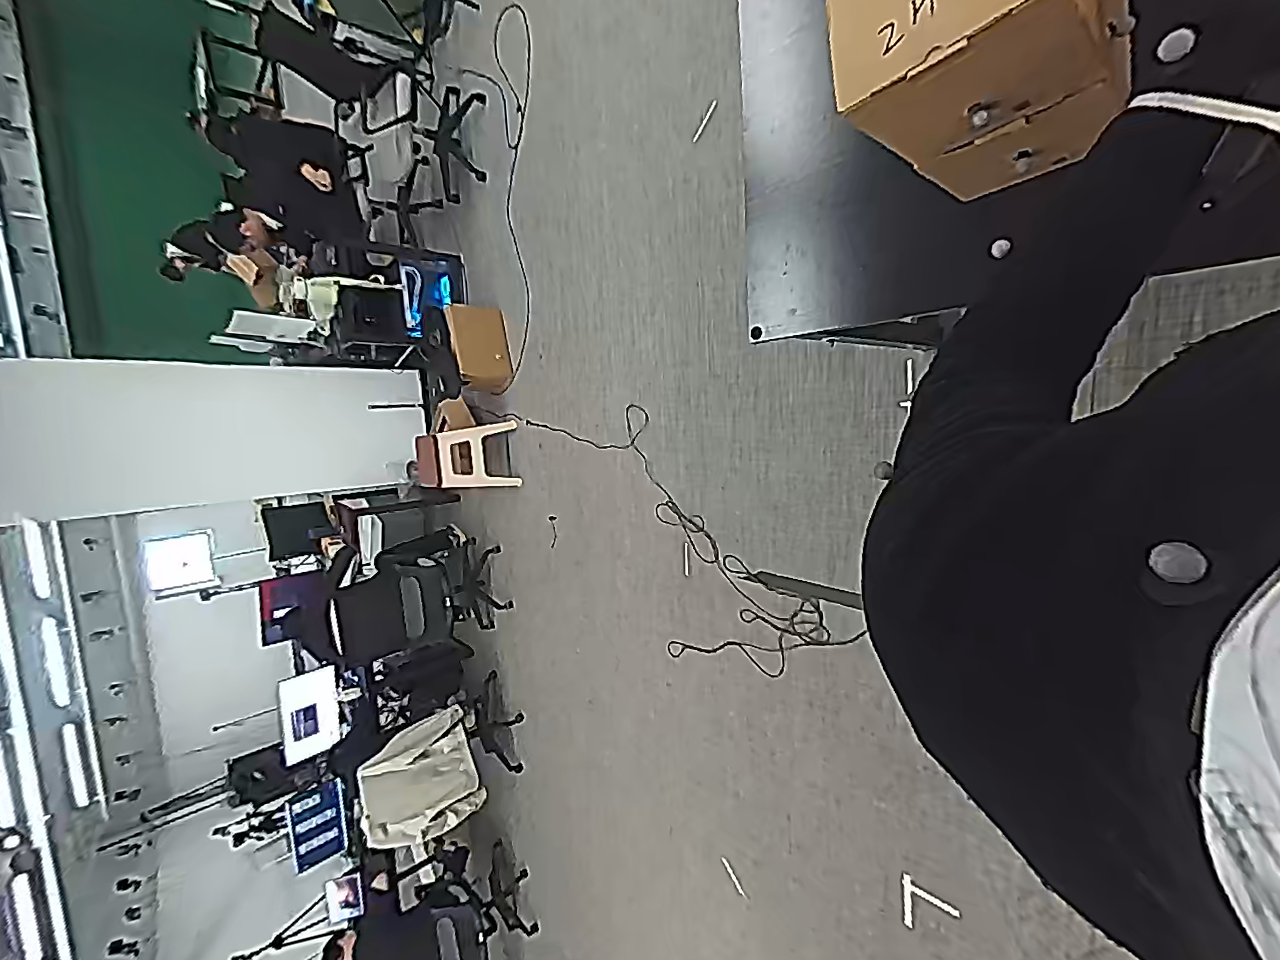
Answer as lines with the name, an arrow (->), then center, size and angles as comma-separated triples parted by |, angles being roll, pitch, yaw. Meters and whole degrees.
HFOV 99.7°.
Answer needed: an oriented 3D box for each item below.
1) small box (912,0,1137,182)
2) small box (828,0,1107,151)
small box -> 0.407, -0.446, 0.580 | 0.168, 0.176, 0.179 | -2, 95, 50
small box -> 0.282, -0.432, 0.472 | 0.168, 0.176, 0.179 | -4, 94, 50
